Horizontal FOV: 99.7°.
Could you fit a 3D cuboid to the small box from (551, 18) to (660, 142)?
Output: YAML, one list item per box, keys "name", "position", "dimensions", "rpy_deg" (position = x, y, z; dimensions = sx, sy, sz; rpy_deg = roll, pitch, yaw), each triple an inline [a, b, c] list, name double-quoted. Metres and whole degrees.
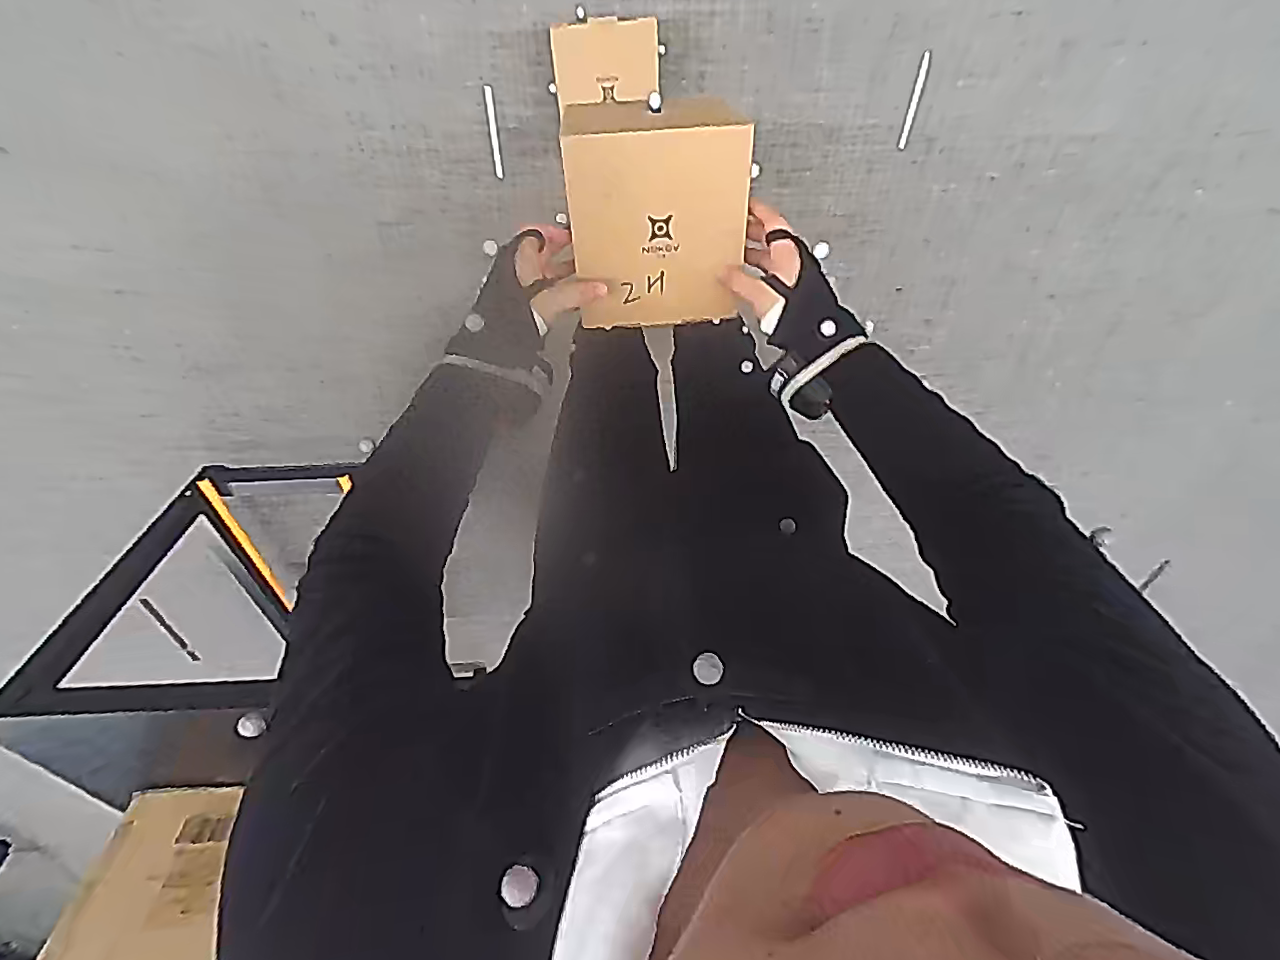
- name: "small box"
  position: [-0.053, -0.669, 0.922]
  dimensions: [0.168, 0.176, 0.179]
  rpy_deg: [-4, 132, 2]

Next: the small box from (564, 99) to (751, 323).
- name: "small box"
  position: [0.011, -0.288, 0.571]
  dimensions: [0.168, 0.176, 0.179]
  rpy_deg: [-5, 133, -1]
